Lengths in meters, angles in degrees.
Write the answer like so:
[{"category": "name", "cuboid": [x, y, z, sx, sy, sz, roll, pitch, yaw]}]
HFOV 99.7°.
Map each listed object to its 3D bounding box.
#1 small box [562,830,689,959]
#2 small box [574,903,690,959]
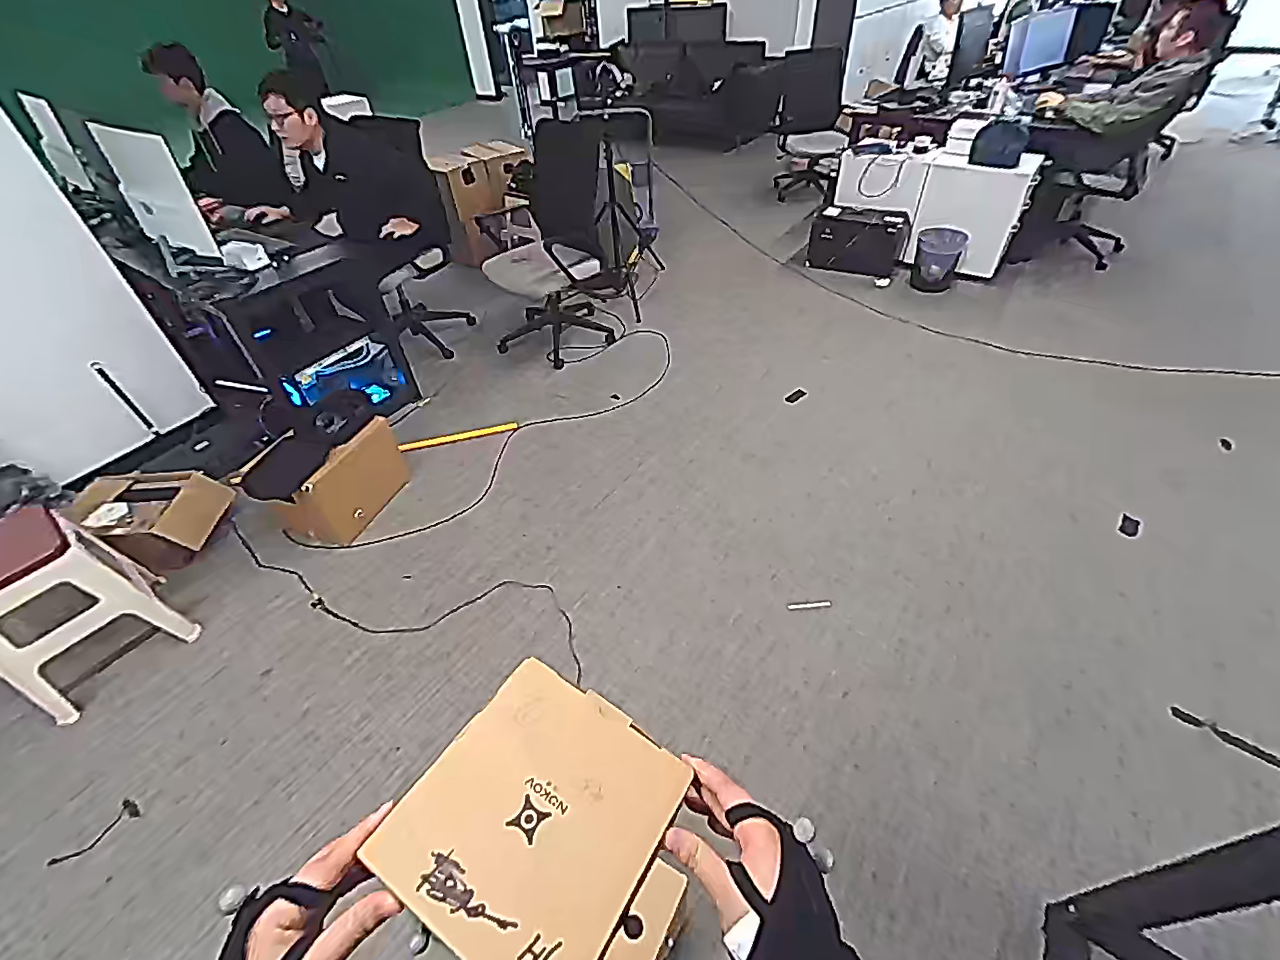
[{"category": "small box", "cuboid": [-0.019, 0.804, 1.002, 0.168, 0.176, 0.179, 20, 47, 22]}, {"category": "small box", "cuboid": [-0.012, 0.926, 1.109, 0.168, 0.176, 0.179, 22, 50, 25]}]
